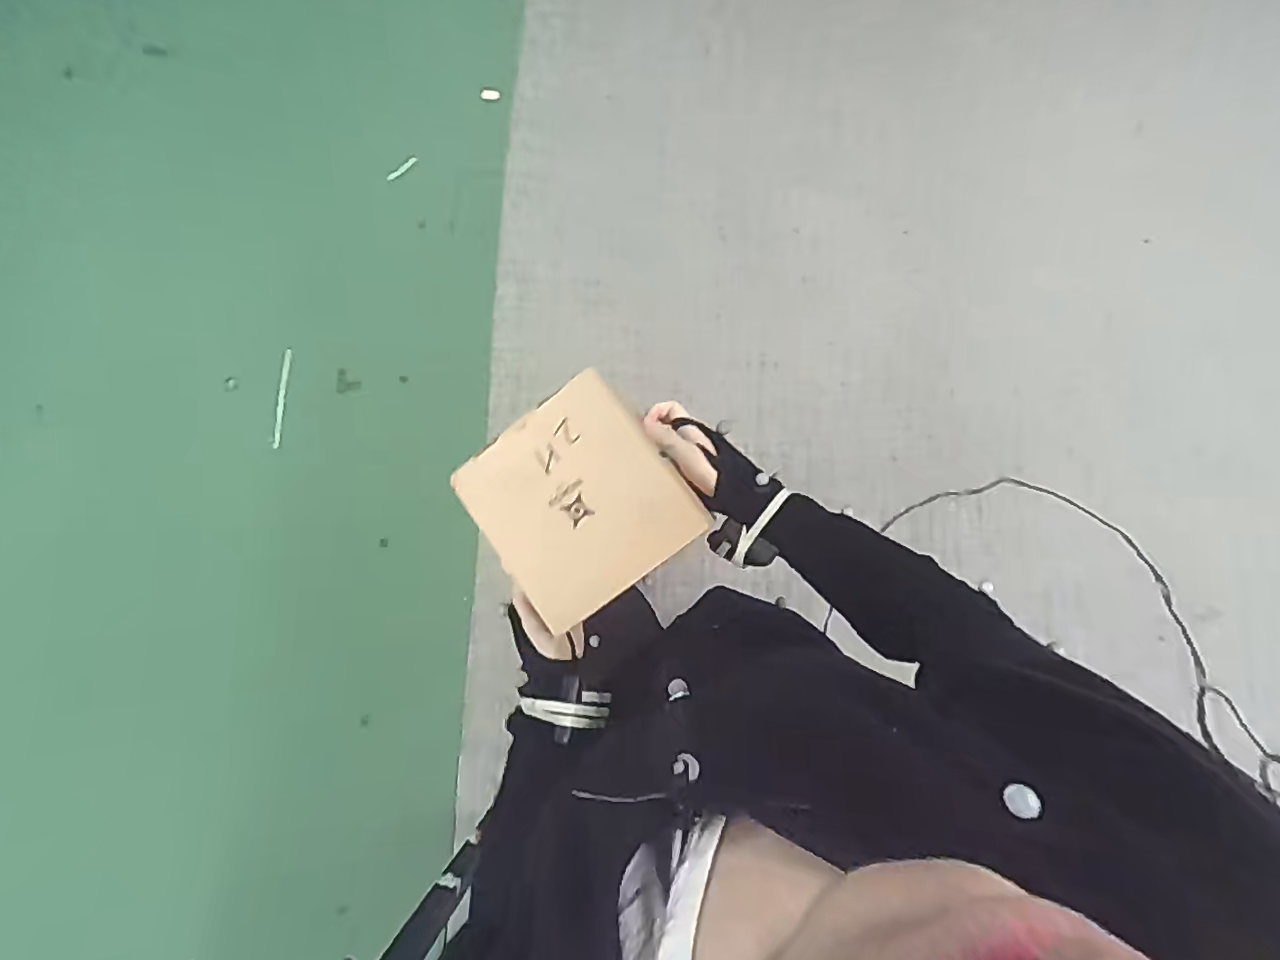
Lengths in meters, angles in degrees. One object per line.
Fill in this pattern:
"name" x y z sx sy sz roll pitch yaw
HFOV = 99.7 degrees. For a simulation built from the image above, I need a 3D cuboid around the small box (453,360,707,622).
"small box" -0.043 0.011 0.545 0.168 0.176 0.179 -34 83 7
